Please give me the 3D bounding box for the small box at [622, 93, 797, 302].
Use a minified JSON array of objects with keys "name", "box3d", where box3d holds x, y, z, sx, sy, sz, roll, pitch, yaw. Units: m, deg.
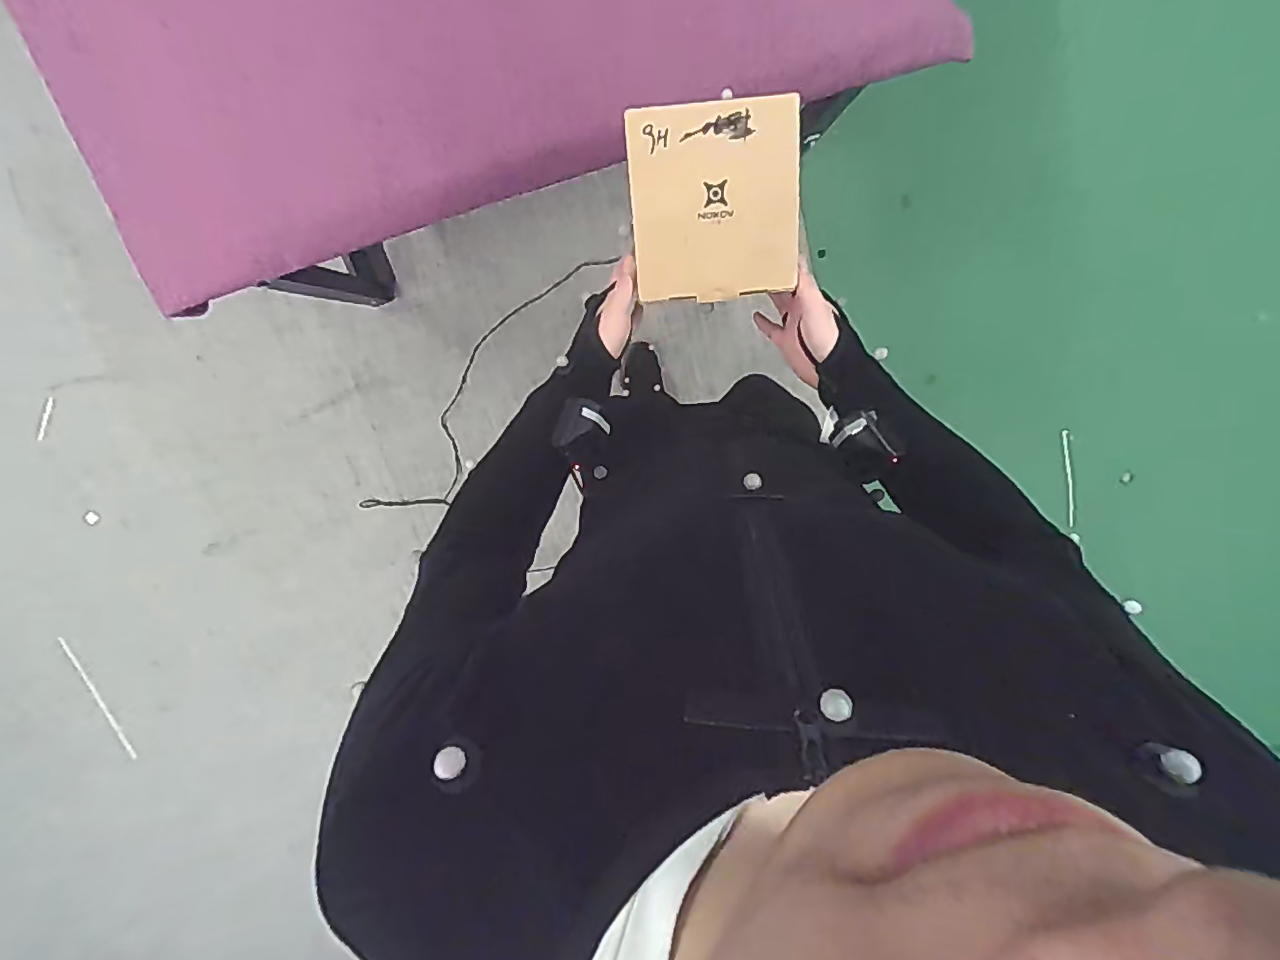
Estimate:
[{"name":"small box","box3d":[0.070,-0.300,0.606,0.168,0.176,0.179,-4,109,1]}]
